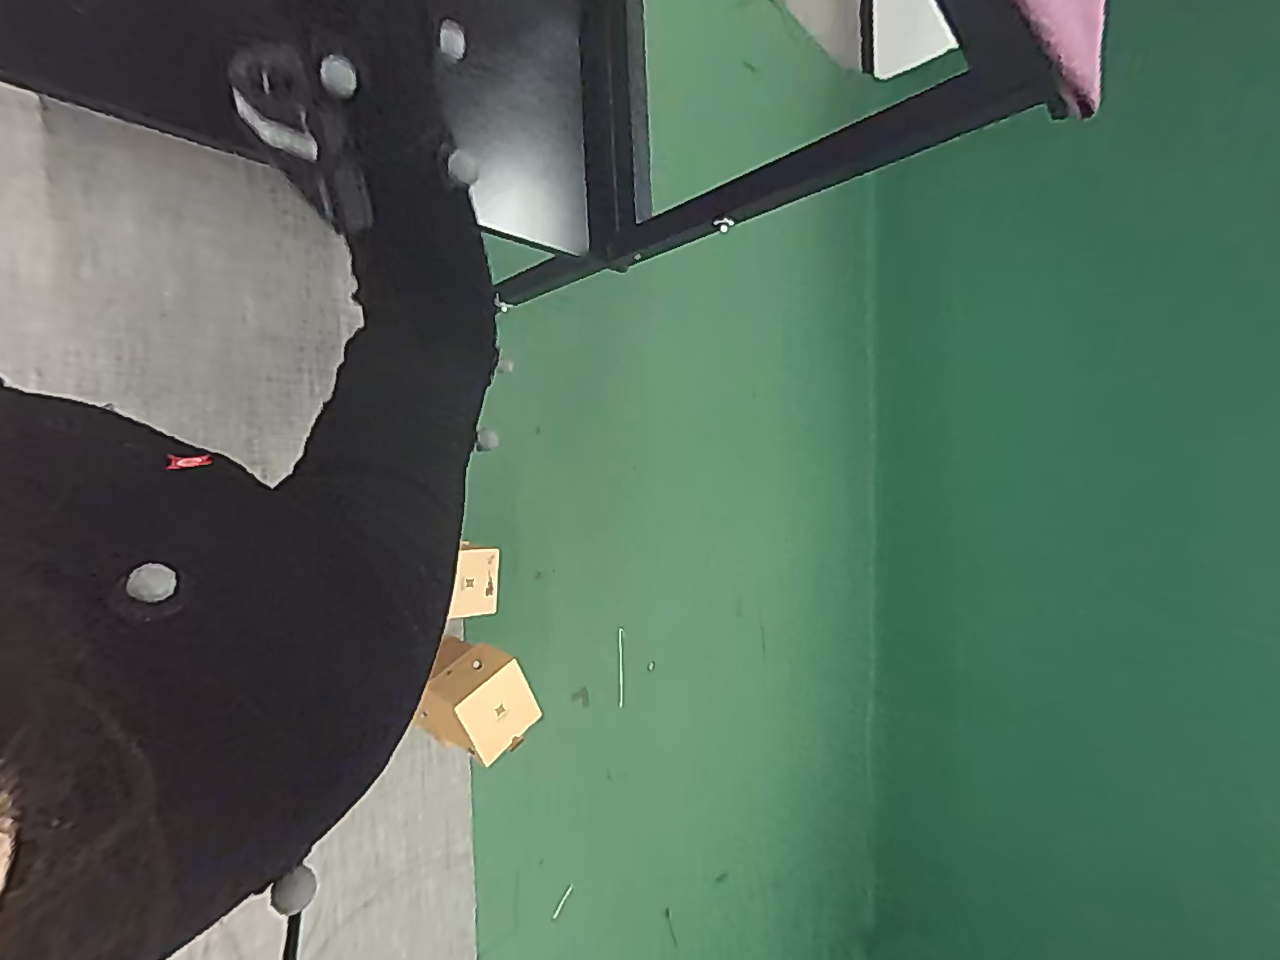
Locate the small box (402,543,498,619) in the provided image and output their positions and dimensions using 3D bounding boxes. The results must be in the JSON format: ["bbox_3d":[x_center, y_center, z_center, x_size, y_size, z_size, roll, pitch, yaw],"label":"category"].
[{"bbox_3d":[-0.482,0.249,1.366,0.179,0.176,0.168,6,86,-45],"label":"small box"}]

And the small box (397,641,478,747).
[{"bbox_3d":[-0.486,0.528,1.369,0.168,0.176,0.179,-29,112,-39],"label":"small box"}]

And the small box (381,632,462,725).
[{"bbox_3d":[-0.594,0.533,1.491,0.168,0.176,0.179,-13,101,-44],"label":"small box"}]

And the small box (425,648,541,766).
[{"bbox_3d":[-0.368,0.514,1.257,0.168,0.176,0.179,-35,115,-38],"label":"small box"}]
